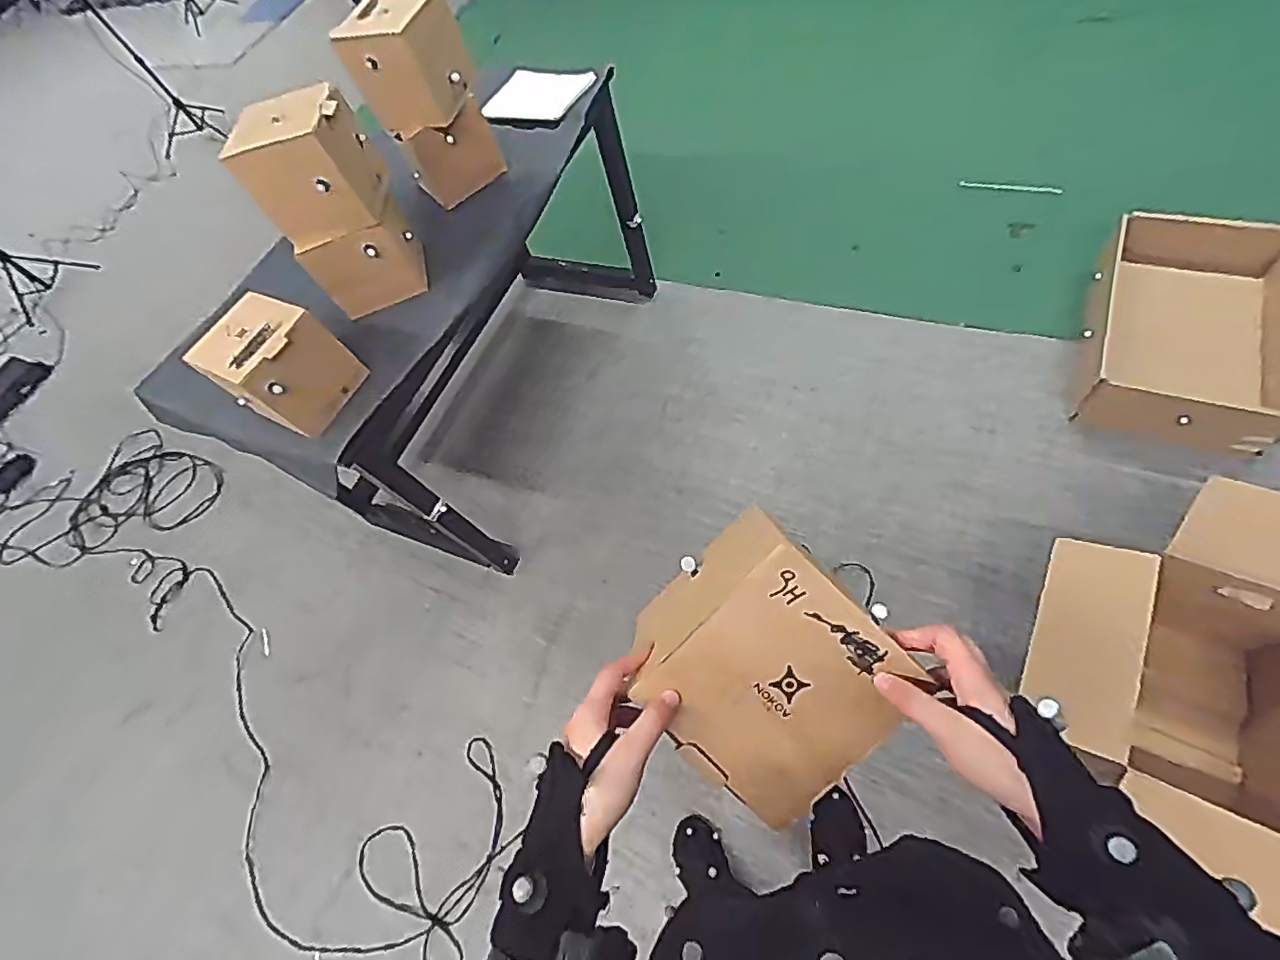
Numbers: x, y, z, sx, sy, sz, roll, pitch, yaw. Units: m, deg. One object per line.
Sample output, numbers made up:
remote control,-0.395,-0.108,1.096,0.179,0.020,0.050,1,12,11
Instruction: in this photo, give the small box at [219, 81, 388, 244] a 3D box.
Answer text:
small box,-0.579,-0.555,0.958,0.179,0.176,0.168,-11,60,8

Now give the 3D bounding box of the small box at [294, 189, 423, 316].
small box,-0.559,-0.468,1.096,0.179,0.176,0.168,-21,59,2

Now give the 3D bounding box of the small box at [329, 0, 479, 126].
small box,-0.459,-0.836,1.076,0.179,0.176,0.168,12,67,18

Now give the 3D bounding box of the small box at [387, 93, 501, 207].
small box,-0.440,-0.764,1.224,0.179,0.176,0.168,-39,61,-7
